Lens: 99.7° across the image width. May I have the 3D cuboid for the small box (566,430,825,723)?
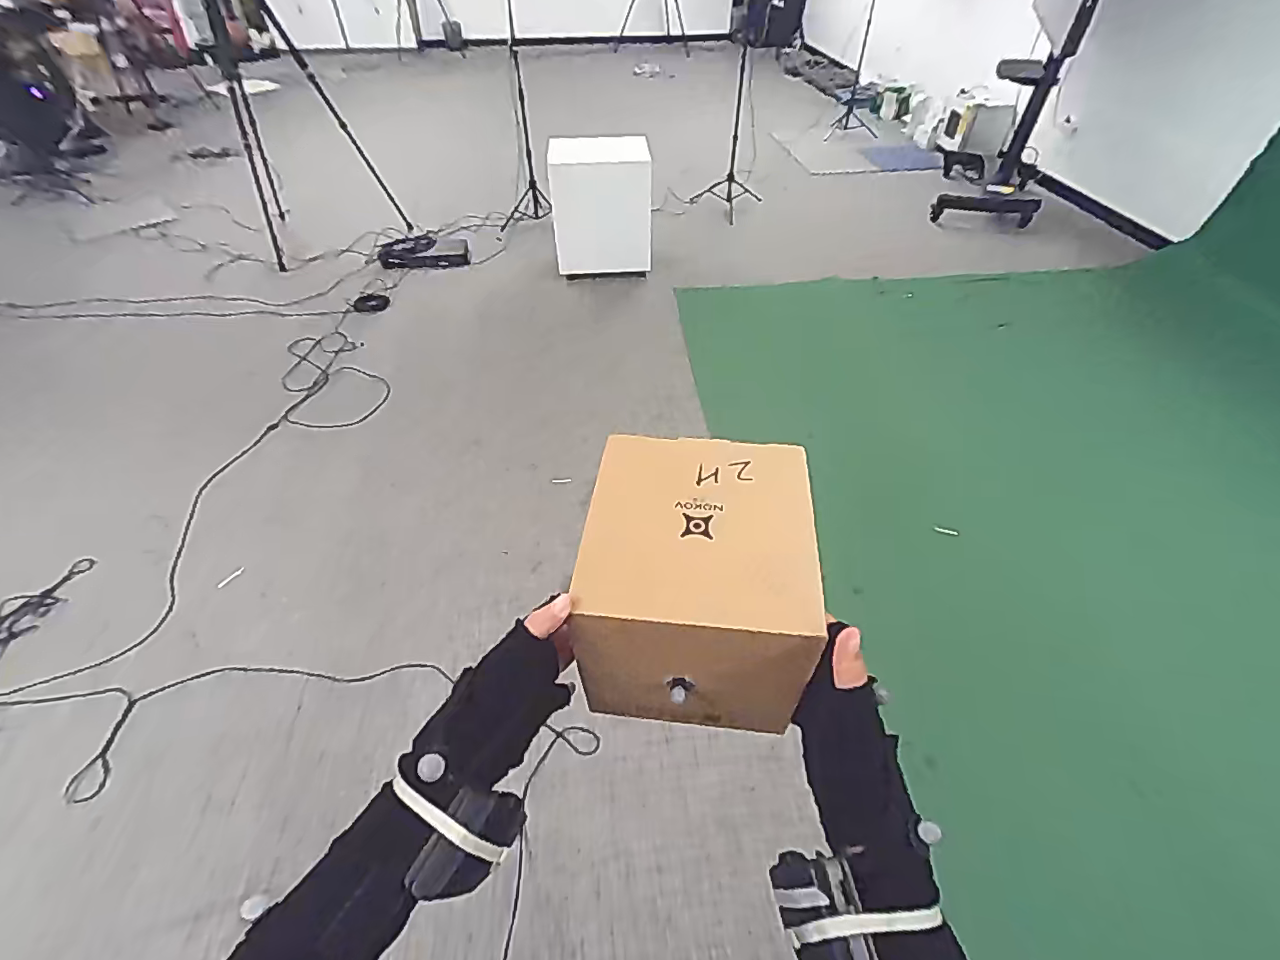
[{"bbox_3d":[0.047,0.081,0.449,0.168,0.176,0.179,4,46,6],"label":"small box"}]
